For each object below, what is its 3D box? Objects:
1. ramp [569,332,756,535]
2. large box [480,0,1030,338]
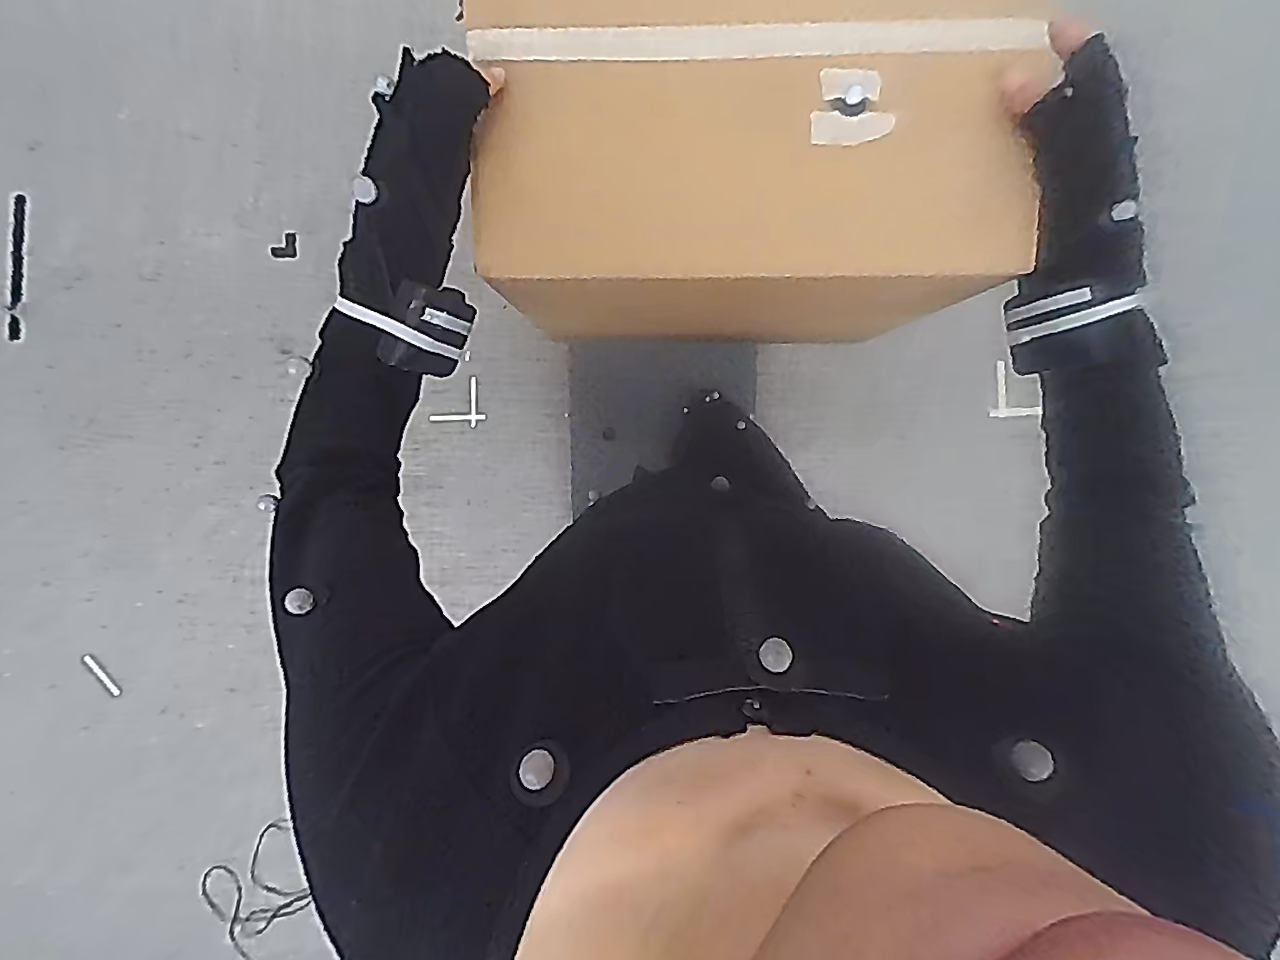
[{"bbox_3d":[0.061,-0.343,1.408,0.509,0.206,0.991,-2,90,-2],"label":"ramp"},{"bbox_3d":[0.082,-0.329,0.542,0.408,0.320,0.320,0,95,0],"label":"large box"}]
